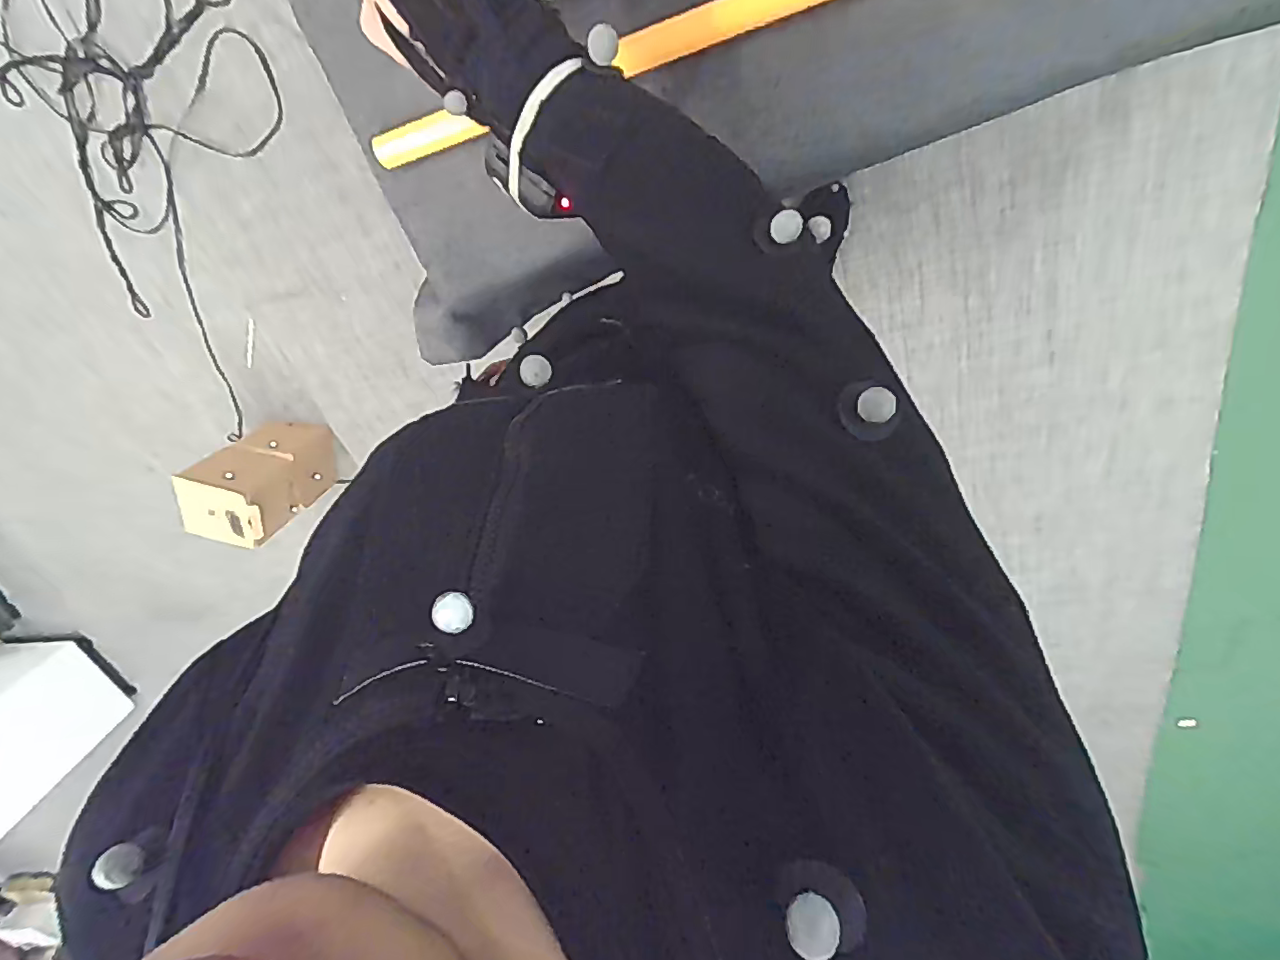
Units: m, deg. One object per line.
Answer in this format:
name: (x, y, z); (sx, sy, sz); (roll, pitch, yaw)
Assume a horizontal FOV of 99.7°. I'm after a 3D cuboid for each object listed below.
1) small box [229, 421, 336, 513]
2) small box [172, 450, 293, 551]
small box: (-0.965, -0.039, 1.480); (0.168, 0.176, 0.179); (10, 121, 1)
small box: (-0.992, 0.045, 1.340); (0.179, 0.176, 0.168); (15, 120, -1)
